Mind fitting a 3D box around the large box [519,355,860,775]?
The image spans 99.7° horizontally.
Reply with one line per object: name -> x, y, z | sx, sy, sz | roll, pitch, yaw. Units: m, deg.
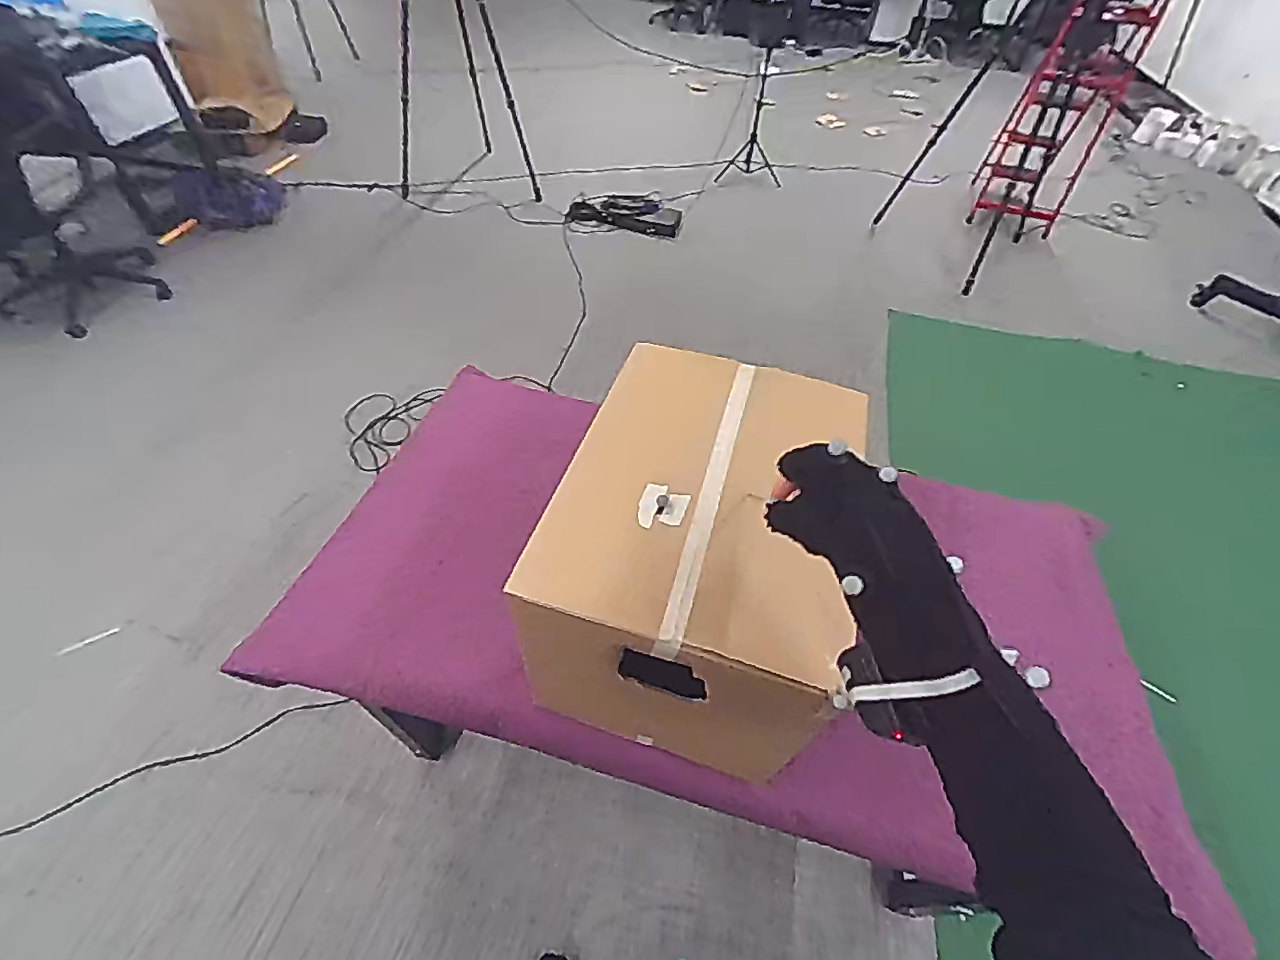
large box -> 0.075, 0.103, 0.720 | 0.320, 0.320, 0.408 | 15, 51, 9
